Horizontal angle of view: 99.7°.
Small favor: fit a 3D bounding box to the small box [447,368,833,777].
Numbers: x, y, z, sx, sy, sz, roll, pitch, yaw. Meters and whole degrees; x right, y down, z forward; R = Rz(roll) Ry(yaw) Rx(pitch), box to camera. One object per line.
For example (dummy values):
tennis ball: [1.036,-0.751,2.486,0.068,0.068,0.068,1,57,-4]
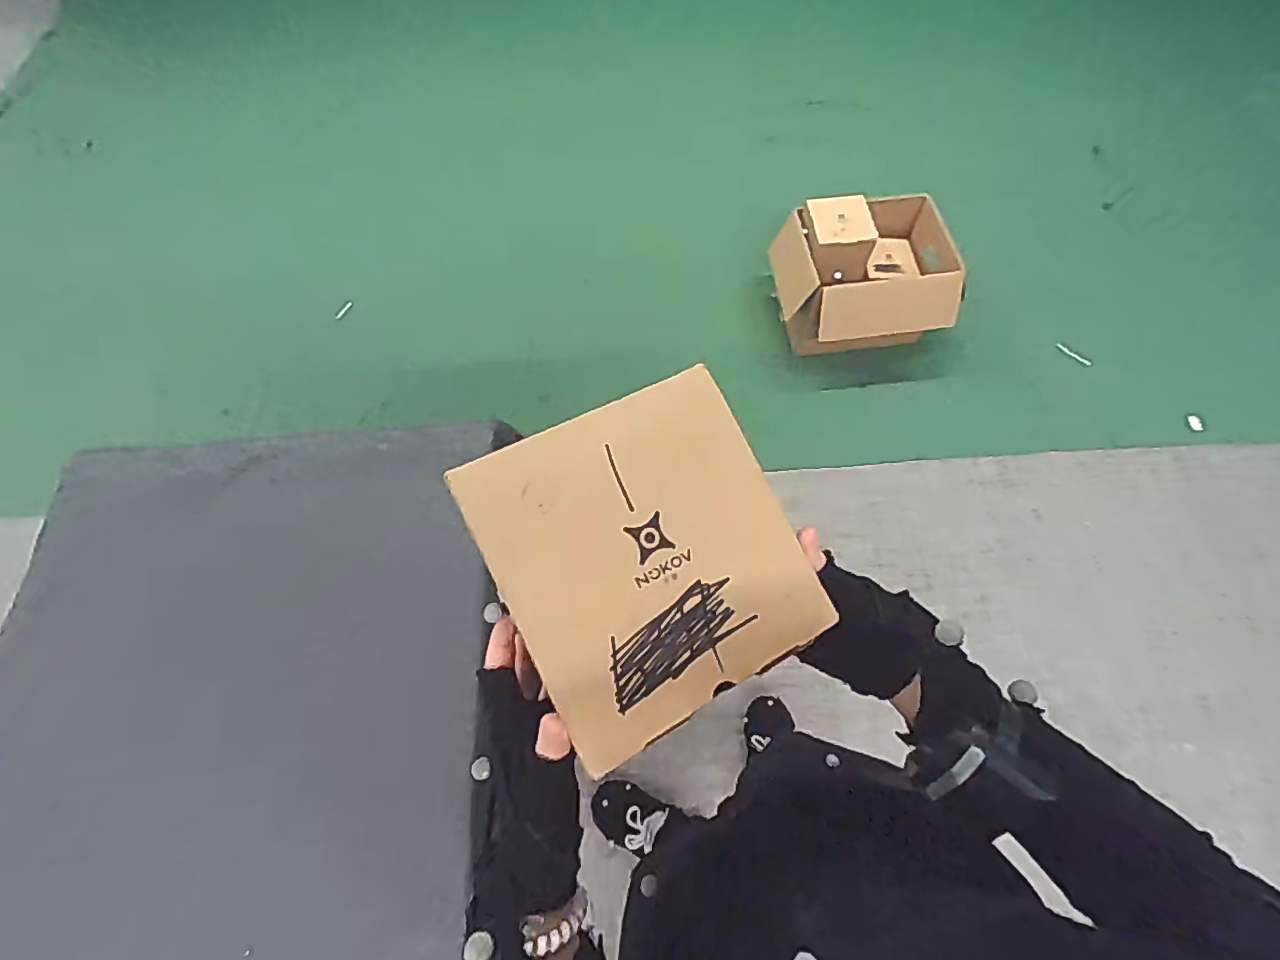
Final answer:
small box: [-0.011,0.055,0.373,0.168,0.176,0.179,-26,86,-17]
